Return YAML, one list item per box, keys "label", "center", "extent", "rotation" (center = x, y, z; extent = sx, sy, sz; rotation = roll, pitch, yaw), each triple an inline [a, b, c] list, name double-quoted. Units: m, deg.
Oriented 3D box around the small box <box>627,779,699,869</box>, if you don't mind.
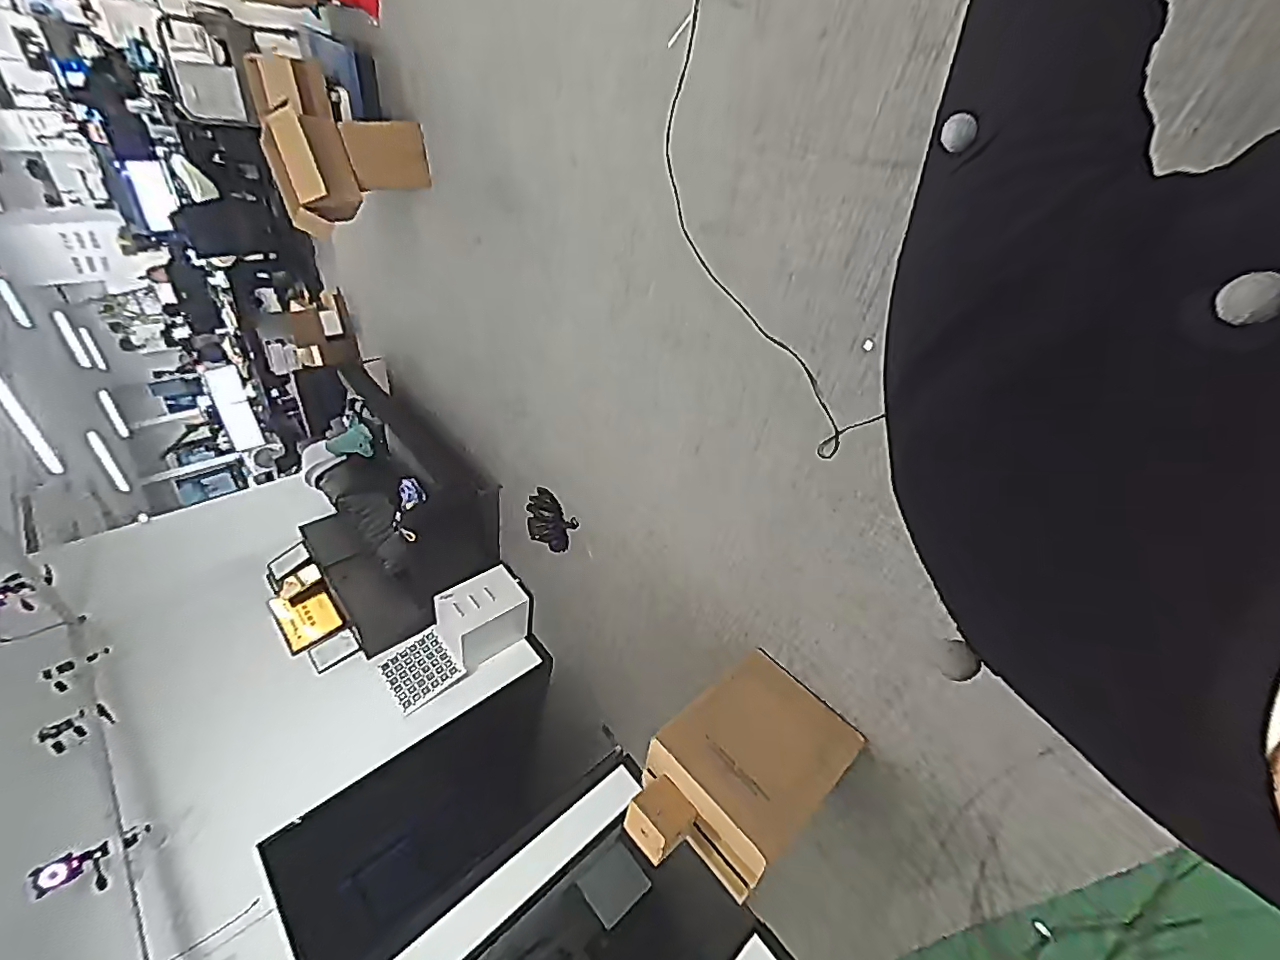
- label: "small box"
  center: [0.083, 1.210, 1.914]
  extent: [0.179, 0.176, 0.168]
  rotation: [34, 124, 37]
